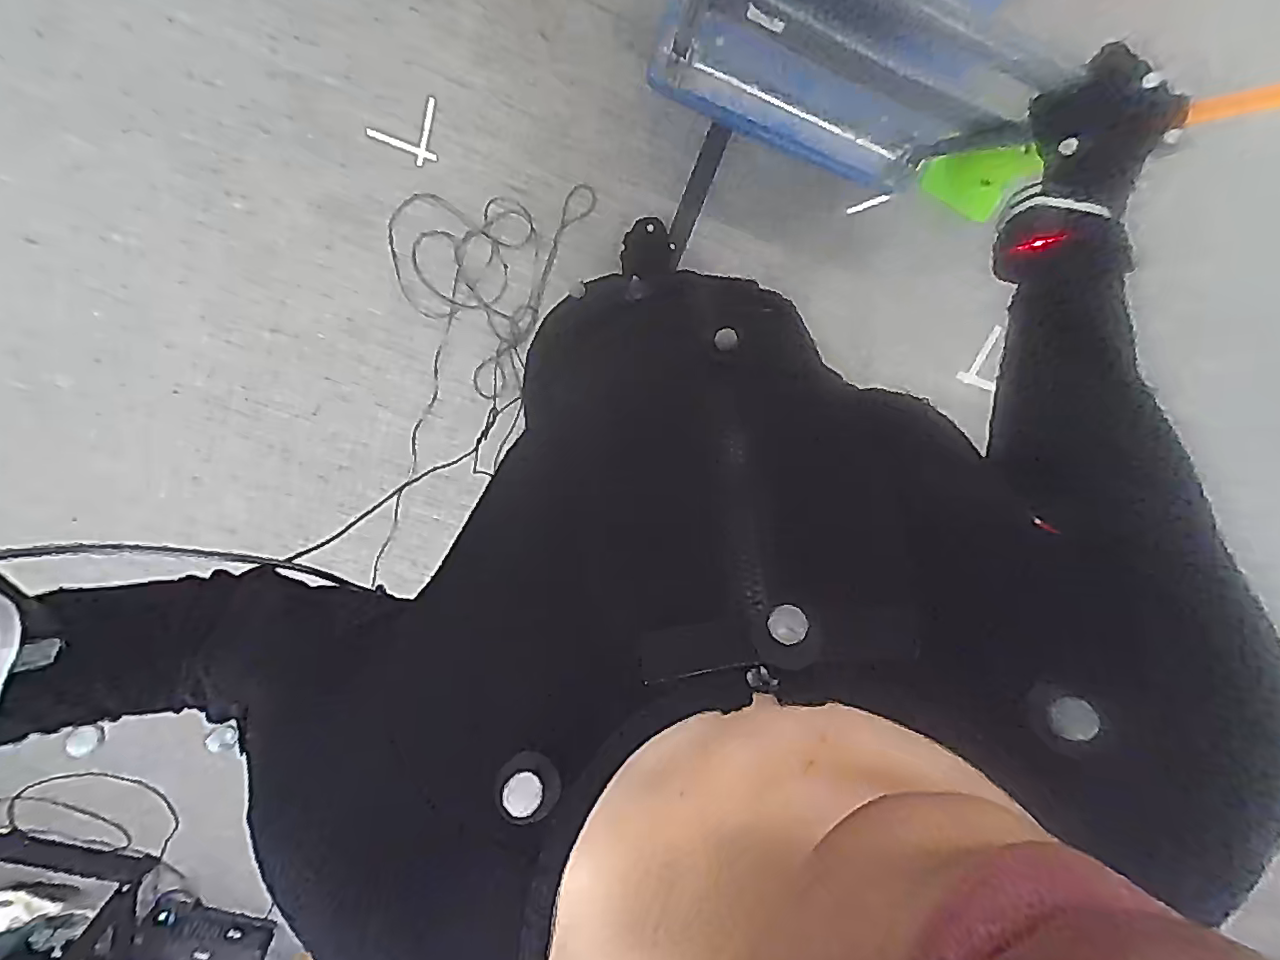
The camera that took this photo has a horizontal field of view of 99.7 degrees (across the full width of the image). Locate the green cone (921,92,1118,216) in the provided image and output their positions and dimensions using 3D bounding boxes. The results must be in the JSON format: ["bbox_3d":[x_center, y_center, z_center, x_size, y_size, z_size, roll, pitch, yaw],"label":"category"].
[{"bbox_3d":[0.777,-0.670,1.080,0.202,0.368,0.200,22,111,-13],"label":"green cone"}]
